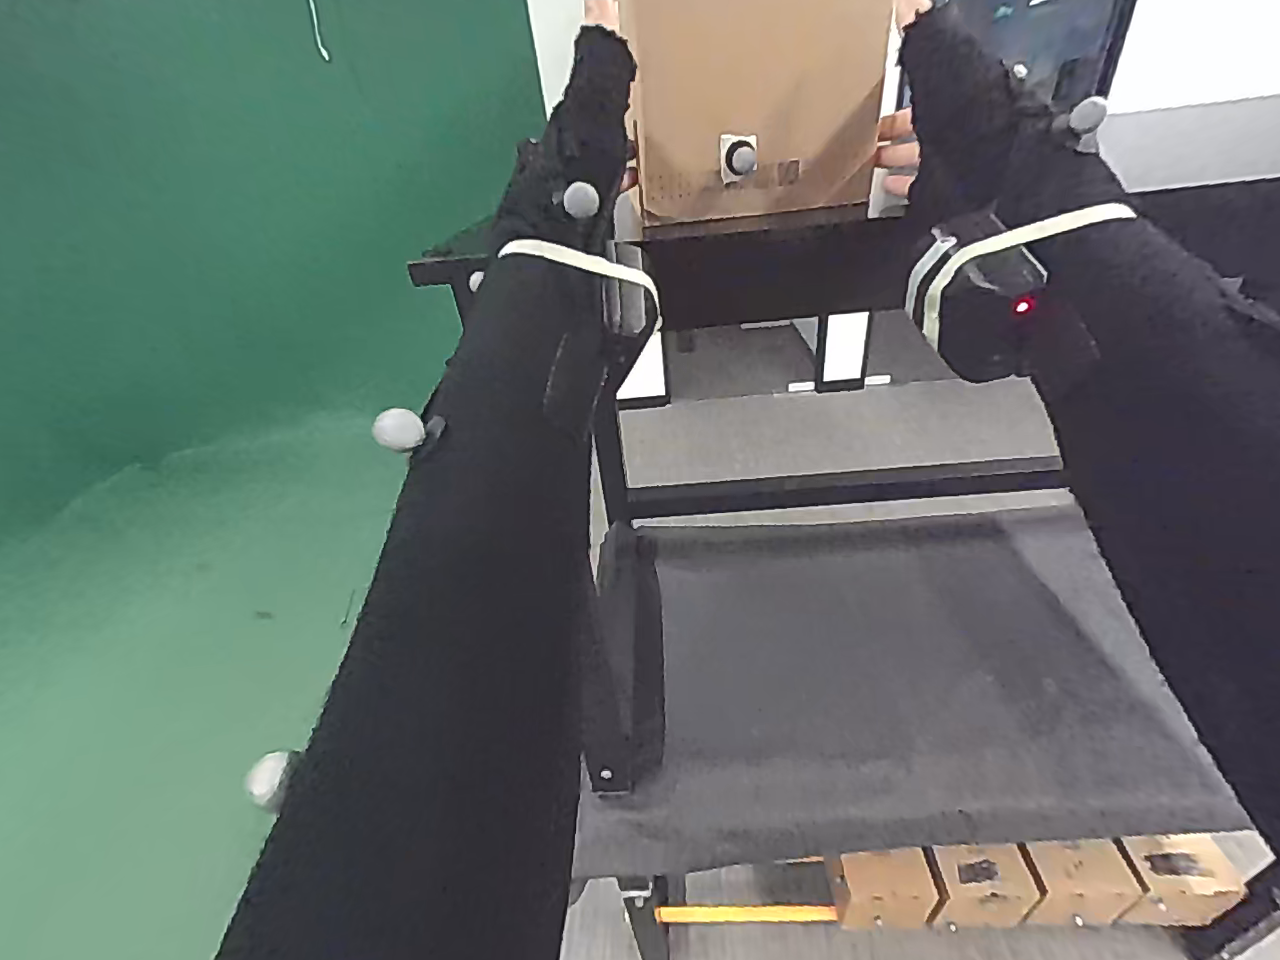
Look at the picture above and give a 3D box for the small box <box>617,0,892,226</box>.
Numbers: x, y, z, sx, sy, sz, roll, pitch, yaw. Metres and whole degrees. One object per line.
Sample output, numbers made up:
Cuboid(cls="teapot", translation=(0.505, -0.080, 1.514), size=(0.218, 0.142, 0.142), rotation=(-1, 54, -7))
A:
Cuboid(cls="small box", translation=(0.072, -0.302, 0.418), size=(0.168, 0.176, 0.179), rotation=(-8, 33, 1))
